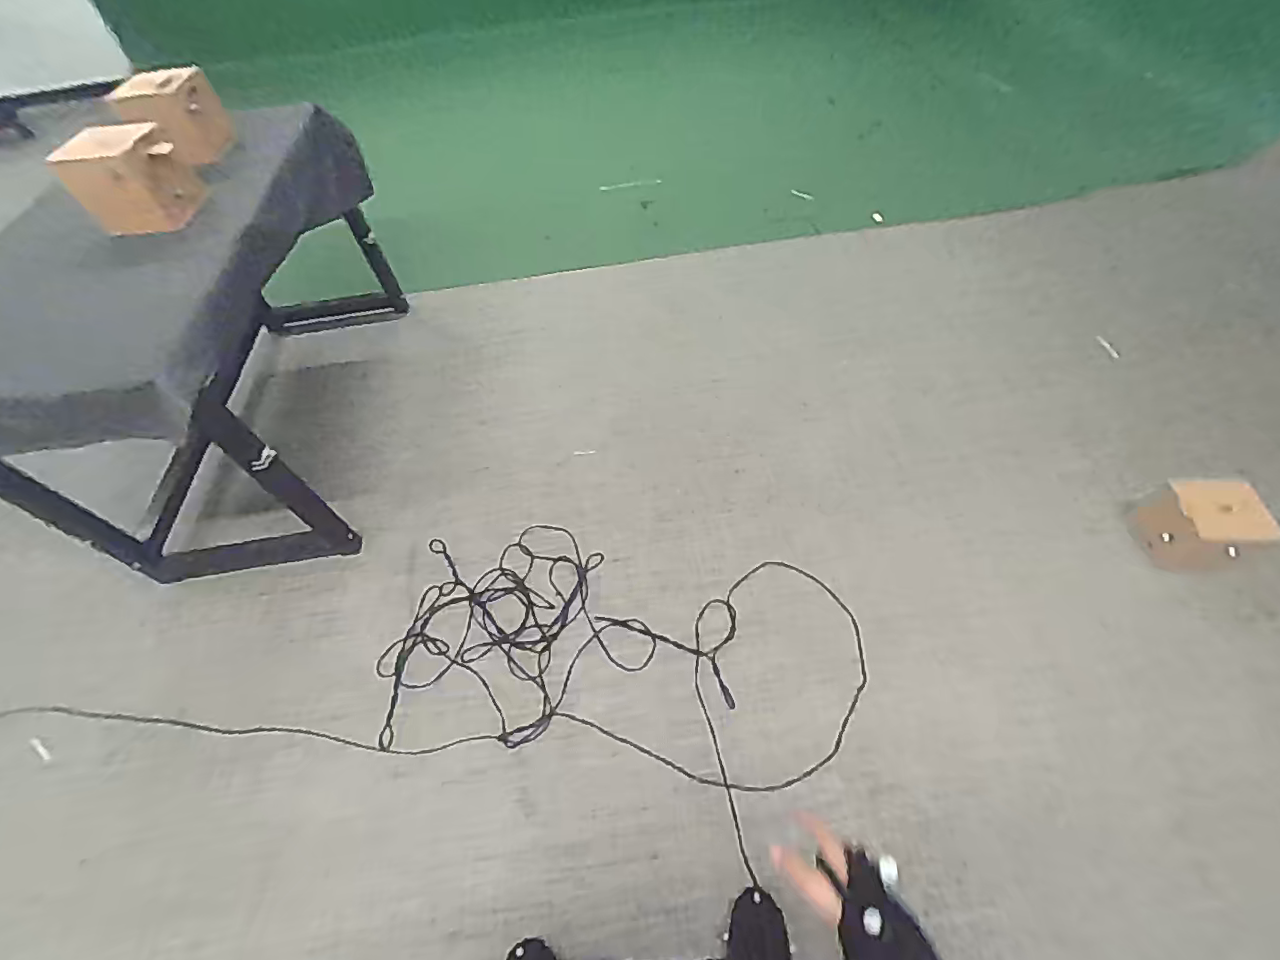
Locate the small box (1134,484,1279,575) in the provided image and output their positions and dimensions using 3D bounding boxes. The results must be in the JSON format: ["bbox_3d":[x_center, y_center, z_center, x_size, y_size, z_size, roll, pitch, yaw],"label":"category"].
[{"bbox_3d":[1.378,0.125,1.329,0.179,0.176,0.168,0,56,4],"label":"small box"}]

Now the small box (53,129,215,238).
[{"bbox_3d":[-1.153,-0.680,1.249,0.179,0.176,0.168,-3,54,3],"label":"small box"}]
